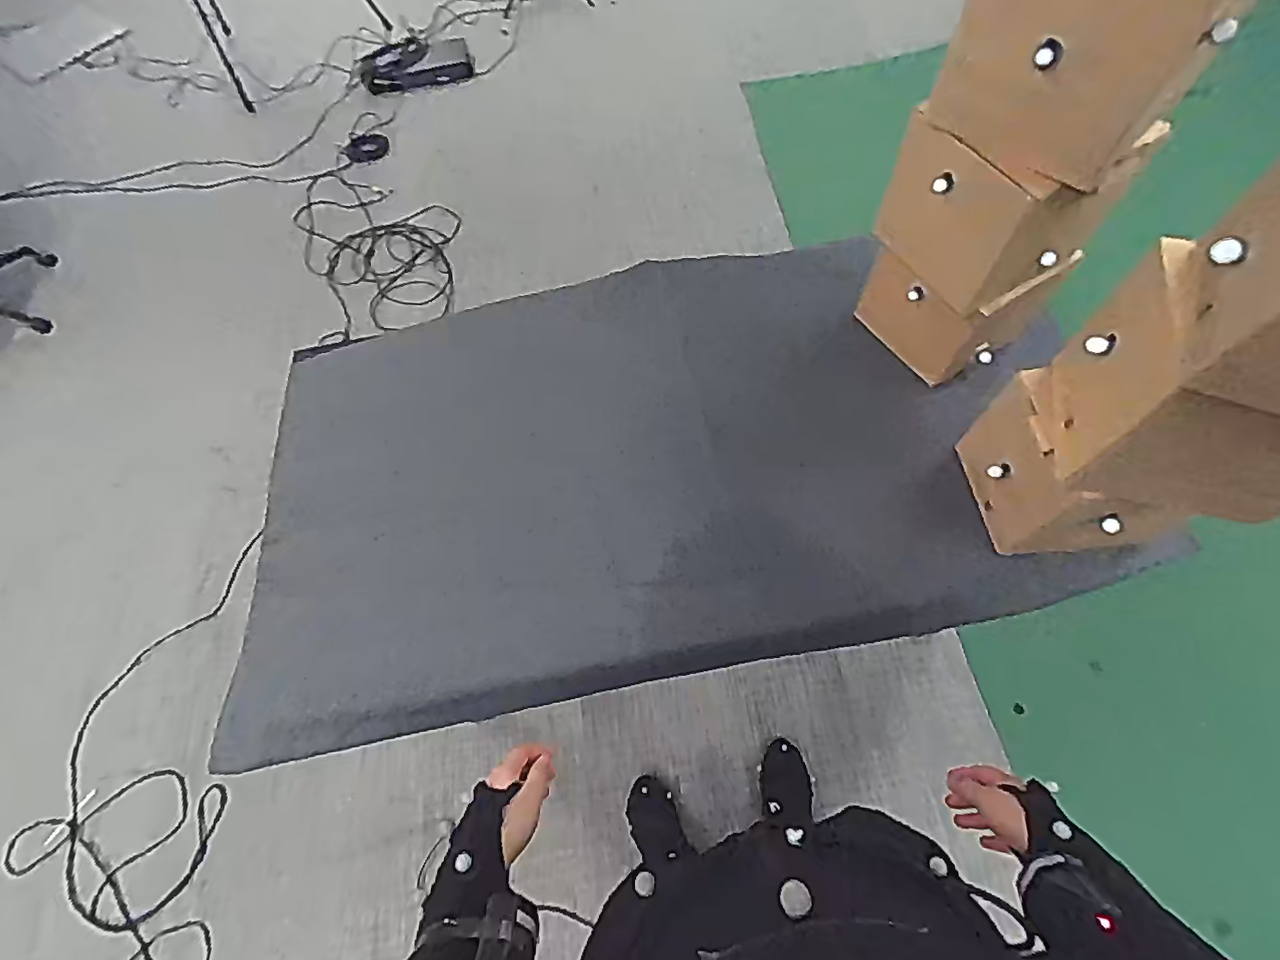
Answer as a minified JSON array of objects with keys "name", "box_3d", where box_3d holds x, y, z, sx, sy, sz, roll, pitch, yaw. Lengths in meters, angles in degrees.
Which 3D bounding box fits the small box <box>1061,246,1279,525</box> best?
[{"name":"small box","box_3d":[0.516,-0.076,0.486,0.179,0.176,0.168,14,64,12]}]

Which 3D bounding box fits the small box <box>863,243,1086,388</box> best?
[{"name":"small box","box_3d":[0.451,-0.265,0.766,0.168,0.176,0.179,-32,68,-6]}]

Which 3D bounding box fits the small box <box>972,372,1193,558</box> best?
[{"name":"small box","box_3d":[0.526,-0.015,0.638,0.179,0.176,0.168,-6,62,4]}]

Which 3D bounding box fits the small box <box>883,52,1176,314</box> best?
[{"name":"small box","box_3d":[0.413,-0.328,0.617,0.168,0.176,0.179,-28,66,-4]}]

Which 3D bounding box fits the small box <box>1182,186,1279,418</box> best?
[{"name":"small box","box_3d":[0.503,-0.131,0.329,0.179,0.176,0.168,23,66,17]}]
